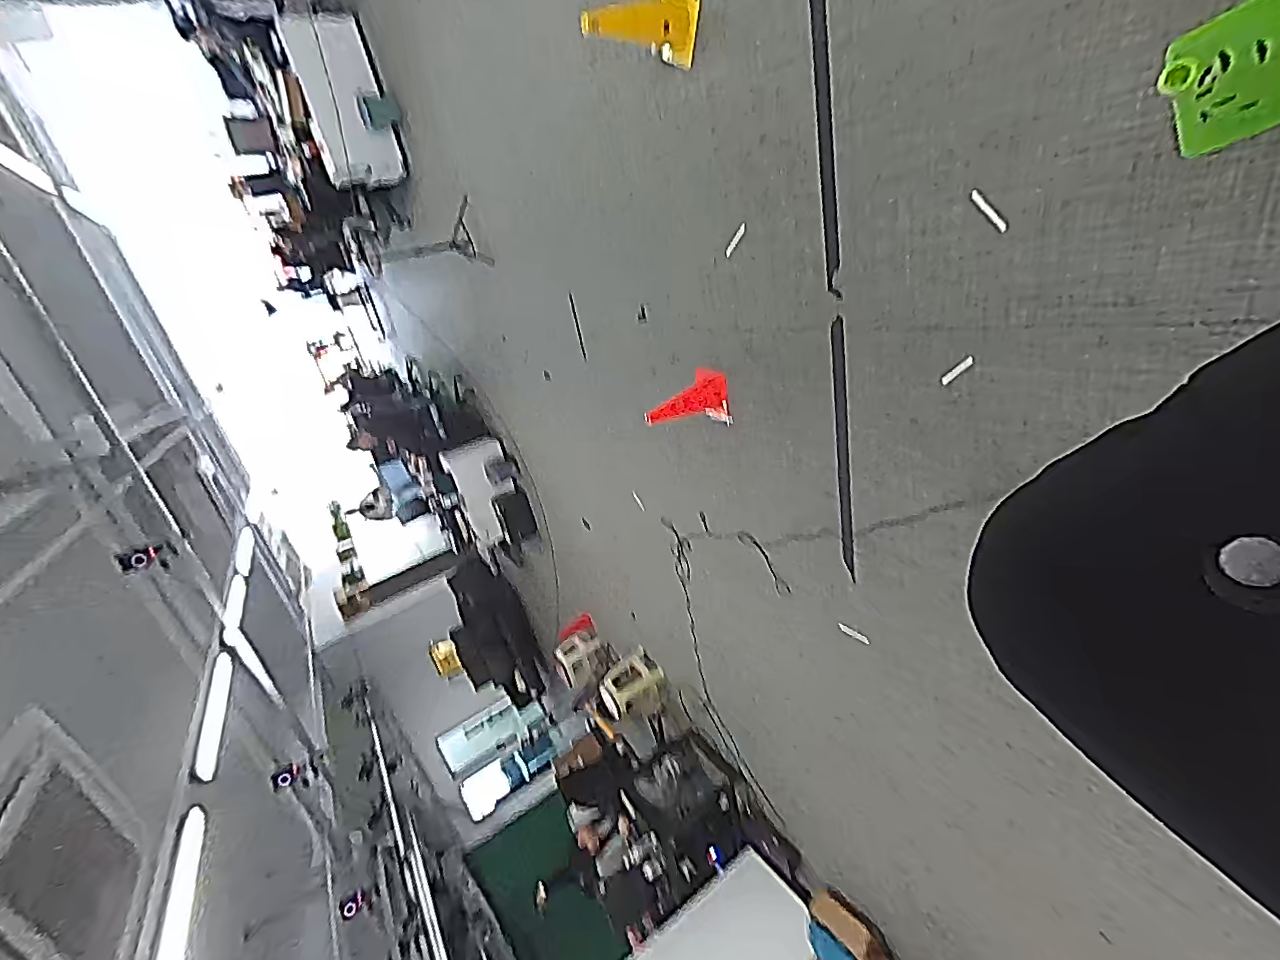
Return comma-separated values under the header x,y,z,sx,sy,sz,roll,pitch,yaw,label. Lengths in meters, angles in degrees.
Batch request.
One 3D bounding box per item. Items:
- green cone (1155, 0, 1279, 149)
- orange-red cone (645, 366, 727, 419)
x,y,z,sx,sy,sz,roll,pitch,yaw,label
0.854,-0.614,0.799,0.200,0.368,0.202,-2,112,63,green cone
0.176,-0.338,2.321,0.198,0.360,0.199,31,137,48,orange-red cone
